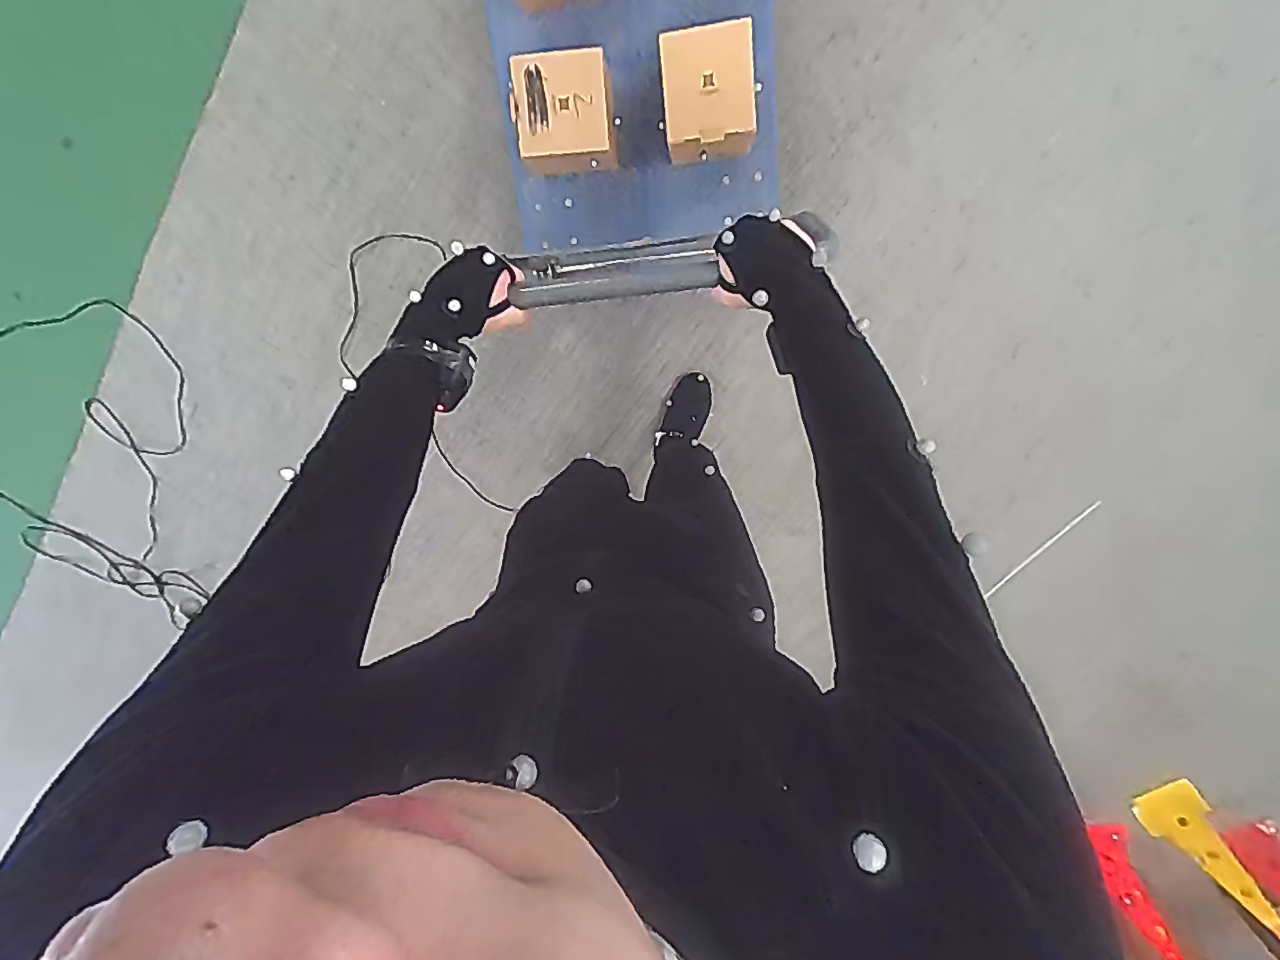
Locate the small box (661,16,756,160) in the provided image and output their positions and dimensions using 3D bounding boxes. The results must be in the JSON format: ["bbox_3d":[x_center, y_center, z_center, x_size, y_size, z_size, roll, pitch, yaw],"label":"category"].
[{"bbox_3d":[0.130,-0.748,1.051,0.168,0.176,0.179,-5,109,7],"label":"small box"}]

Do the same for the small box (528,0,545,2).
[{"bbox_3d":[-0.175,-1.014,0.979,0.168,0.176,0.179,-8,109,7],"label":"small box"}]
